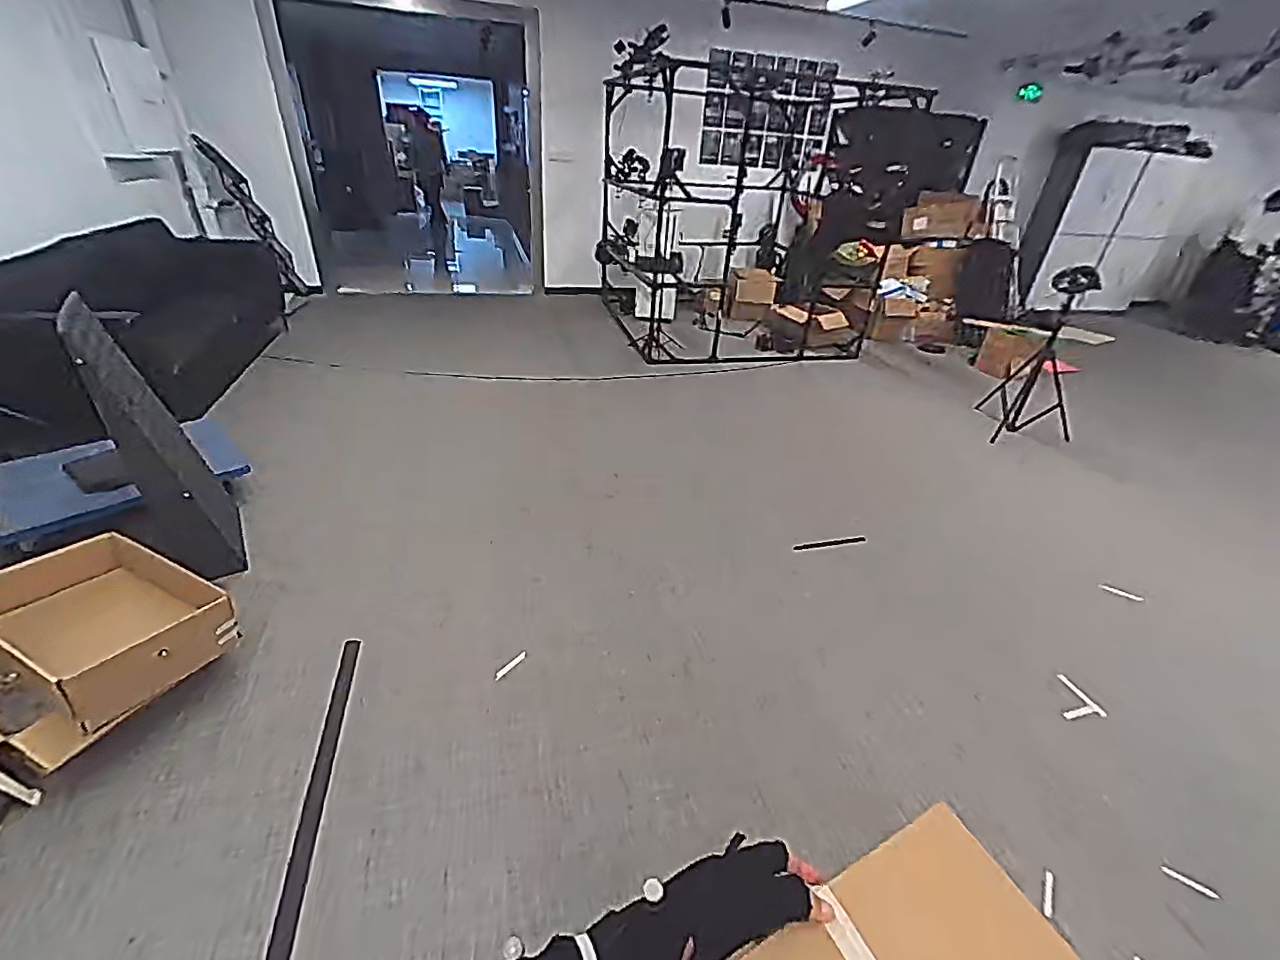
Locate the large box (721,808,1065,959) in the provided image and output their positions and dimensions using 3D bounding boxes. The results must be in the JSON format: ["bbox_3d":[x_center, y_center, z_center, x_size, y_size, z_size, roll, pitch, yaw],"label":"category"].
[{"bbox_3d":[0.226,0.575,0.415,0.320,0.320,0.408,-16,43,-24],"label":"large box"}]
